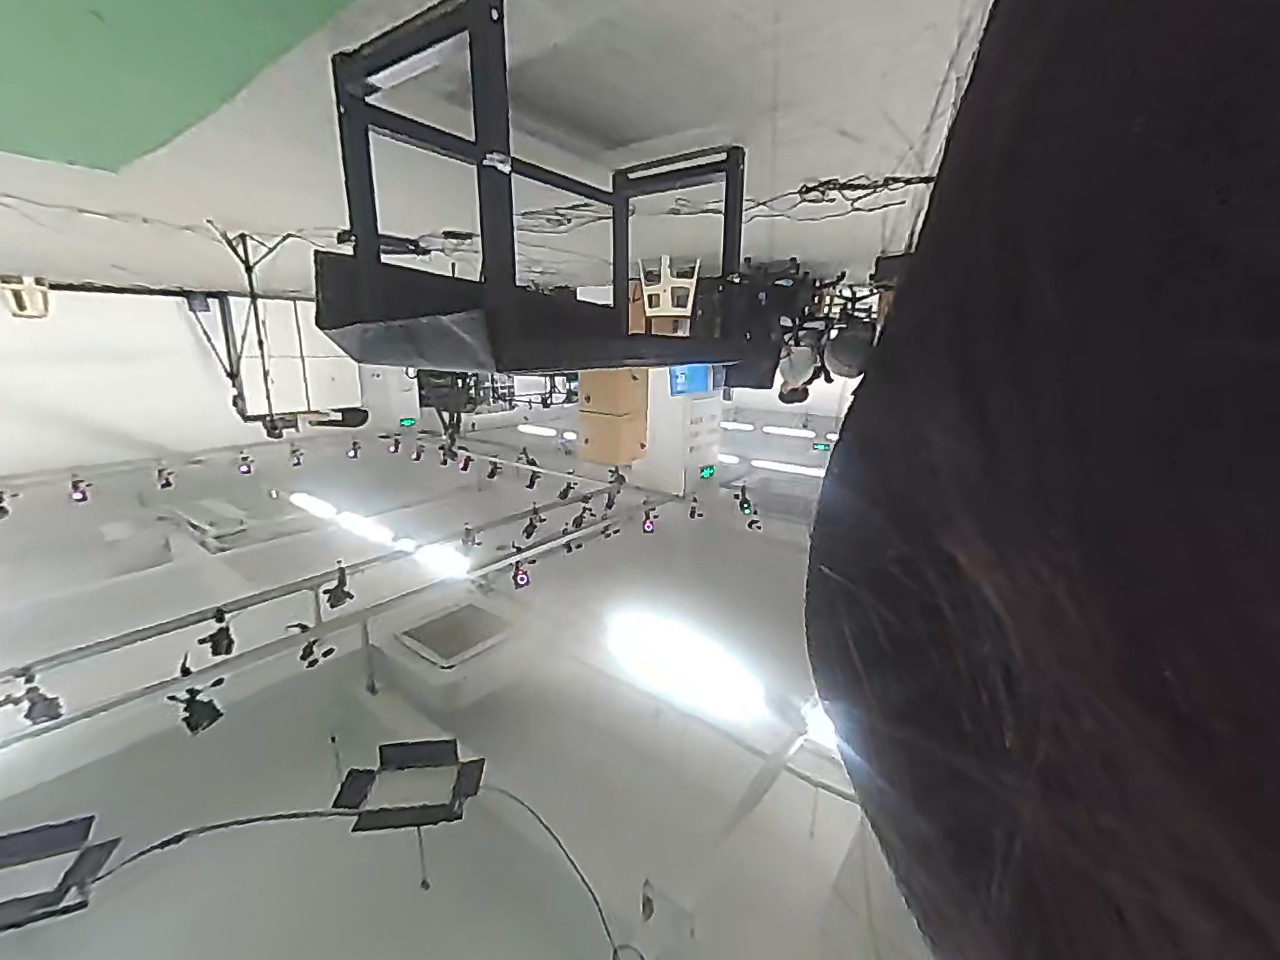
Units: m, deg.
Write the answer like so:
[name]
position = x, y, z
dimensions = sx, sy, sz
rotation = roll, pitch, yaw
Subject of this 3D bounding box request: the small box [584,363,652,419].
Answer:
[small box]
position = -0.071, -0.304, 1.813
dimensions = 0.179, 0.176, 0.168
rotation = 11, -162, 36
